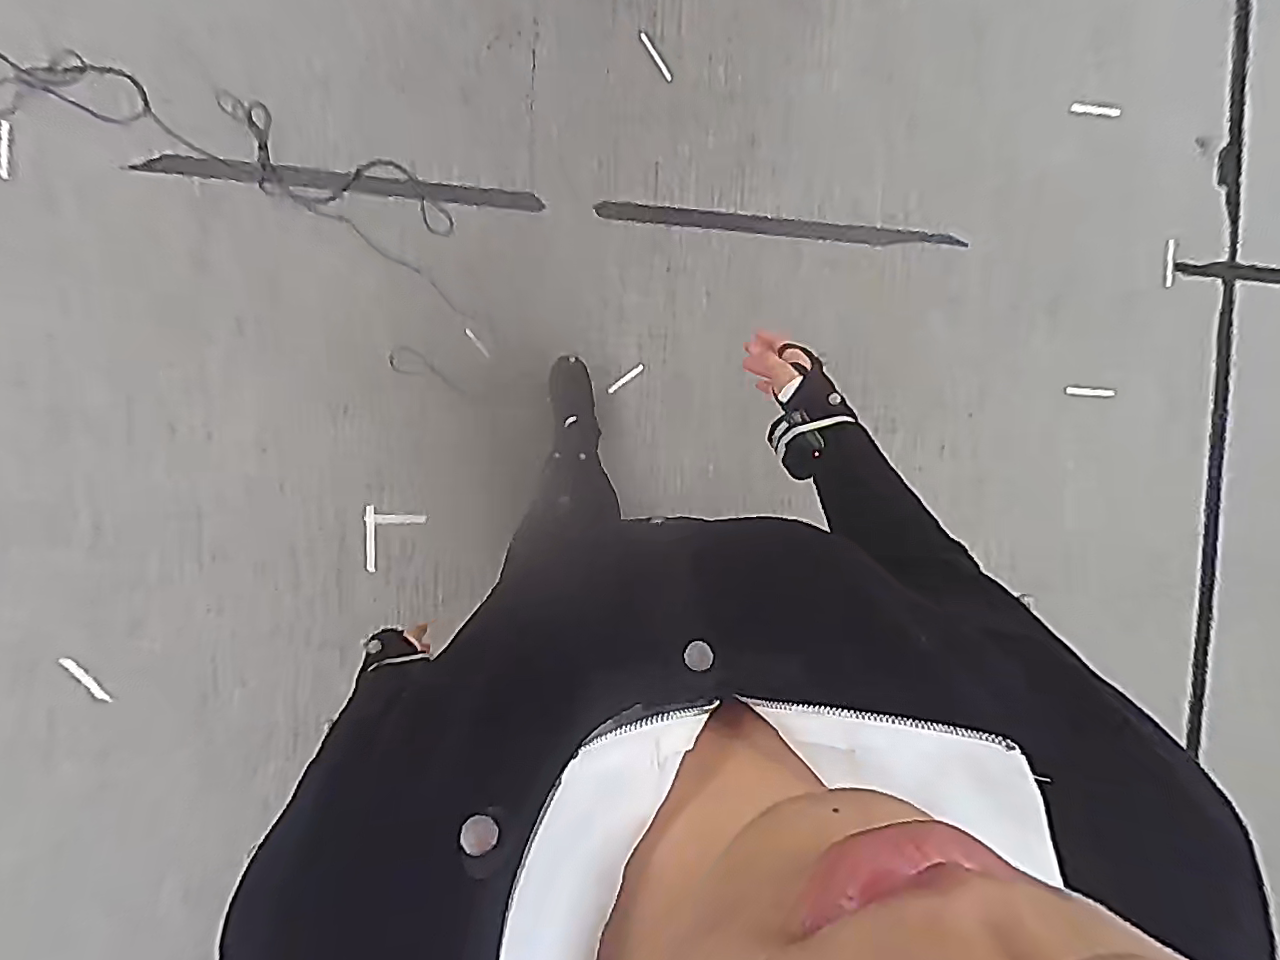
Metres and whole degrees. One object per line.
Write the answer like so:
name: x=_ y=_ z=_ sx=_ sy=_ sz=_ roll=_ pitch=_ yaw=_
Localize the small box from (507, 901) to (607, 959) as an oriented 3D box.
small box: x=-0.140 y=0.868 z=0.920 sx=0.168 sy=0.176 sz=0.179 roll=1 pitch=88 yaw=-6
